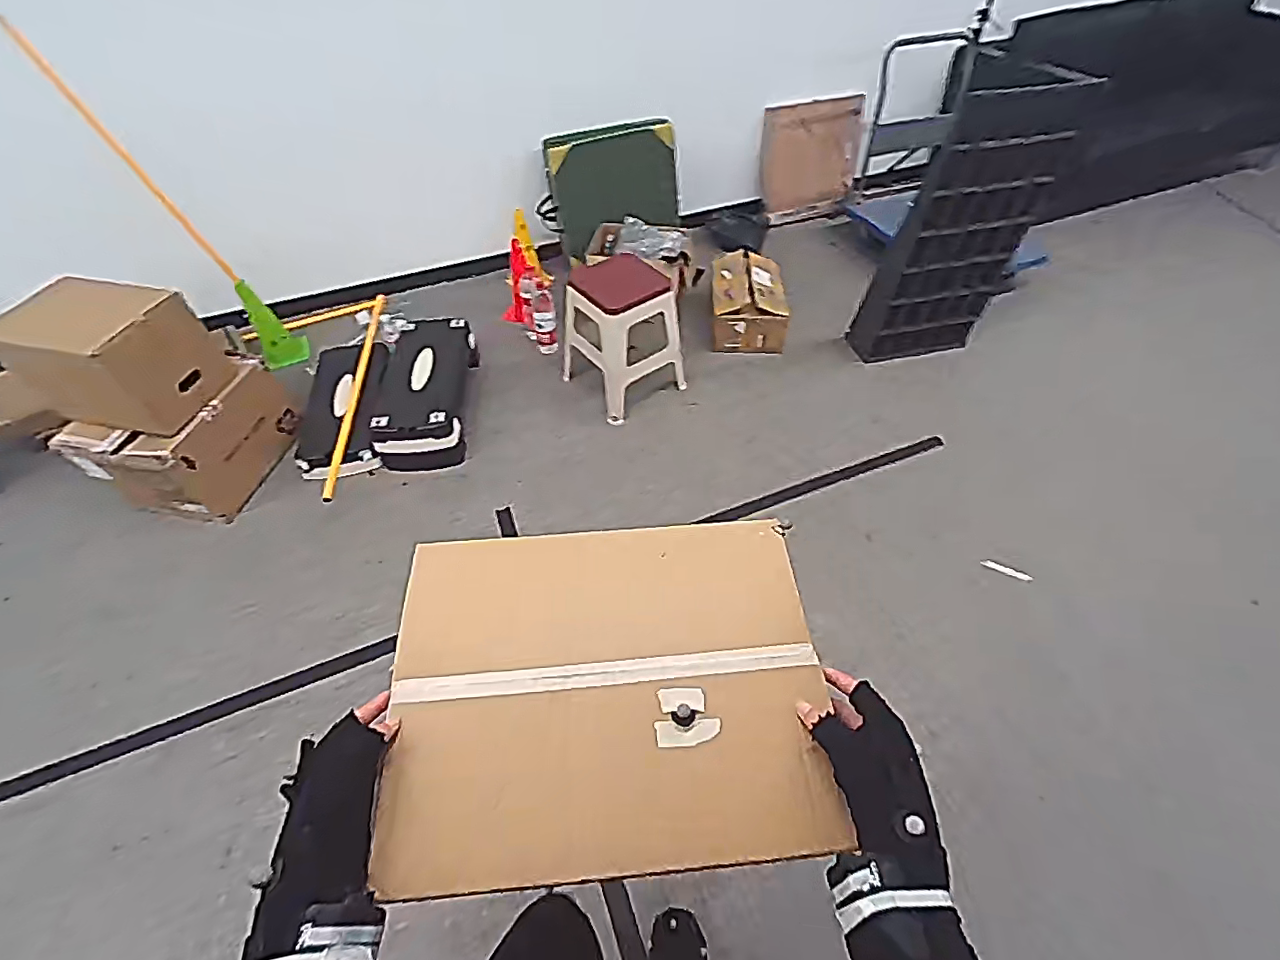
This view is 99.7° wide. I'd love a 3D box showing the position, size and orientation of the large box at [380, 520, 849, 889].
[{"bbox_3d":[-0.034,0.274,0.654,0.408,0.320,0.320,-4,55,-4],"label":"large box"}]
